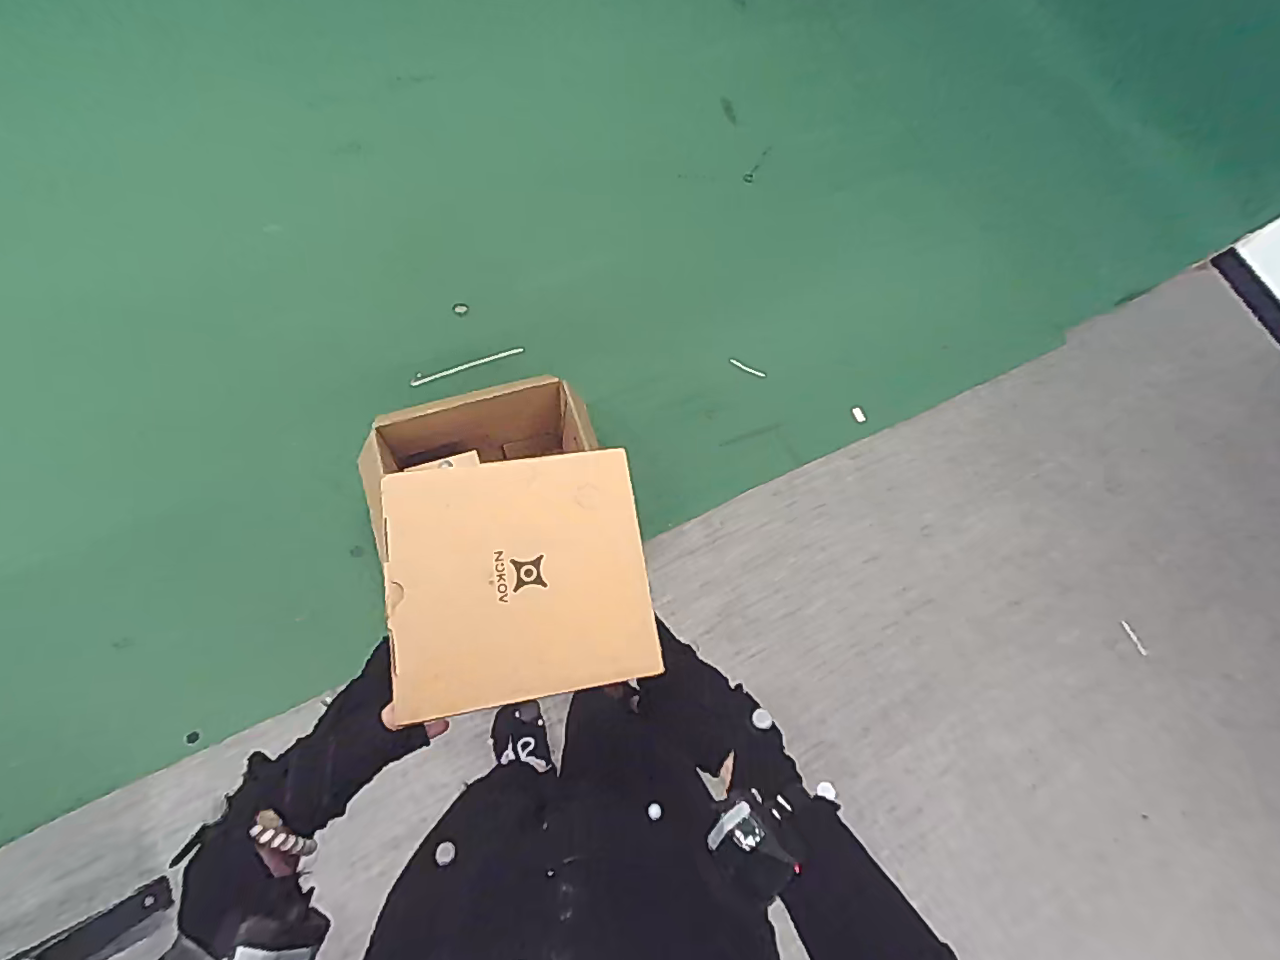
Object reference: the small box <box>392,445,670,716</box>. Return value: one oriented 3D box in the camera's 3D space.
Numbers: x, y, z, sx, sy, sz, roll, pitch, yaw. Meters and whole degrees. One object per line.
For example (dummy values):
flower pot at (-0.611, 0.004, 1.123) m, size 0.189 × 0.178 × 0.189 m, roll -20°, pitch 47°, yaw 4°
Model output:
small box at (-0.089, 0.080, 0.450) m, size 0.179 × 0.176 × 0.168 m, roll -8°, pitch 77°, yaw -11°
